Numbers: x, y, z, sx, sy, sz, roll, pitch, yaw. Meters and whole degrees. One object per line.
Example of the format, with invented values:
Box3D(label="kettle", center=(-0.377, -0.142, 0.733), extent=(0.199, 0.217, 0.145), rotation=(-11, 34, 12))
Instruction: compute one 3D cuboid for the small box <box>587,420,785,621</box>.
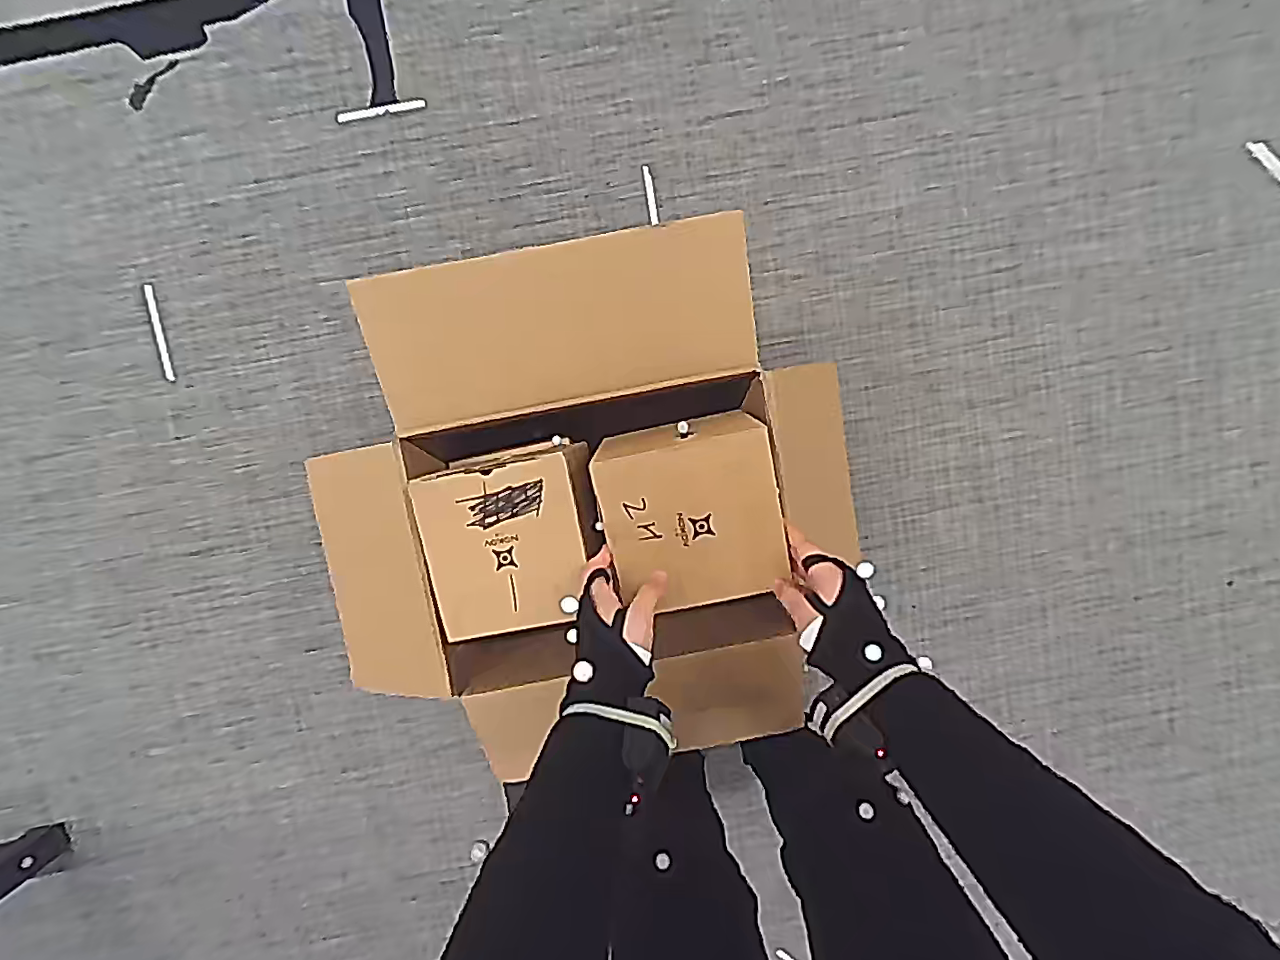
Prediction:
Box3D(label="small box", center=(0.049, 0.034, 0.610), extent=(0.179, 0.176, 0.168), rotation=(-11, 102, 5))
